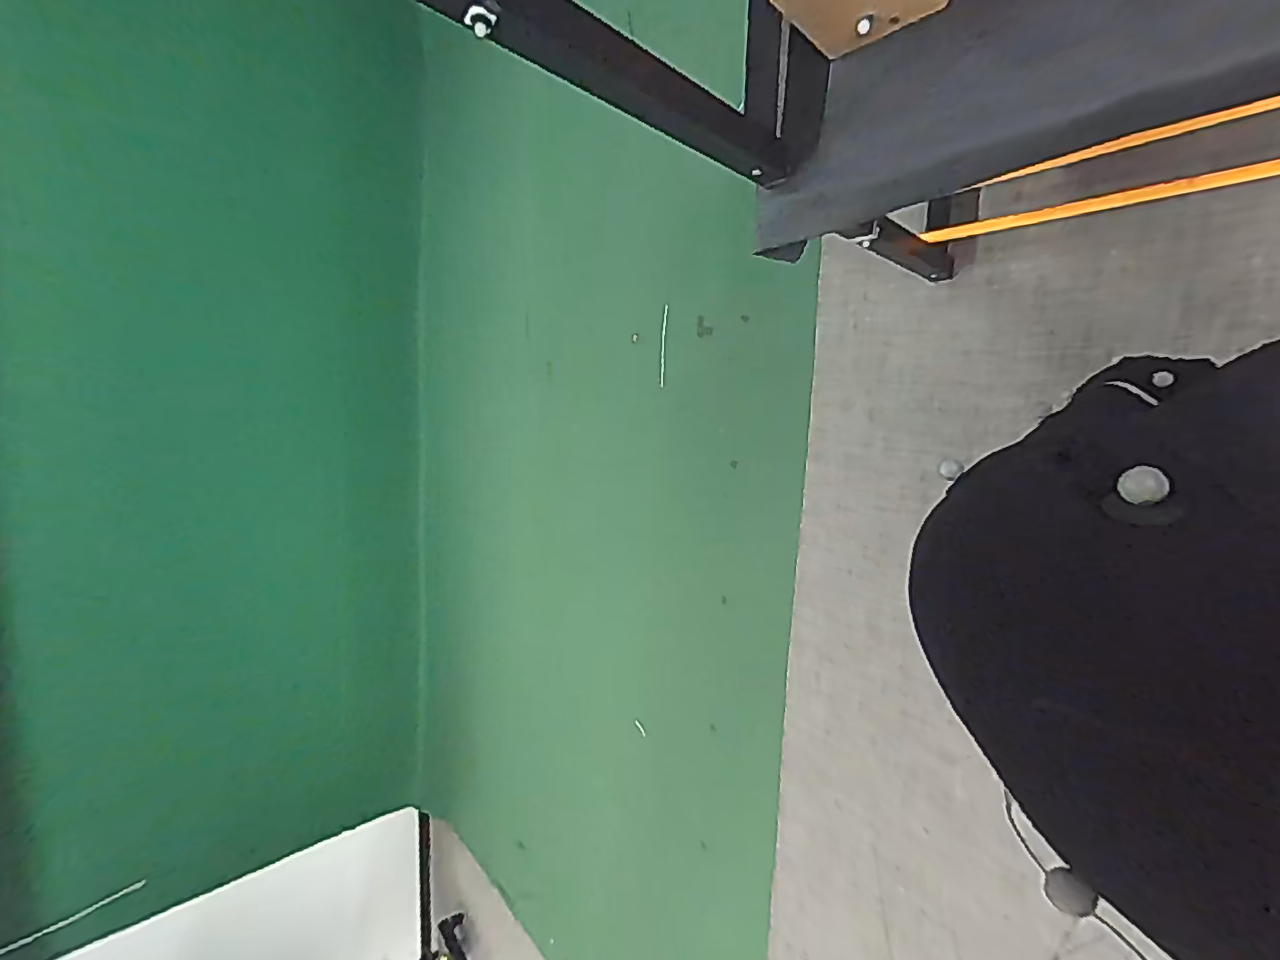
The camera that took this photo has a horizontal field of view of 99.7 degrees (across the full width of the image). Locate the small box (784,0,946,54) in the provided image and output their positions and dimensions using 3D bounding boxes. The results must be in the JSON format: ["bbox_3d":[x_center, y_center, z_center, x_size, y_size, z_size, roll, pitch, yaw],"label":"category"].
[{"bbox_3d":[0.292,-0.708,0.693,0.168,0.176,0.179,10,101,47],"label":"small box"}]
